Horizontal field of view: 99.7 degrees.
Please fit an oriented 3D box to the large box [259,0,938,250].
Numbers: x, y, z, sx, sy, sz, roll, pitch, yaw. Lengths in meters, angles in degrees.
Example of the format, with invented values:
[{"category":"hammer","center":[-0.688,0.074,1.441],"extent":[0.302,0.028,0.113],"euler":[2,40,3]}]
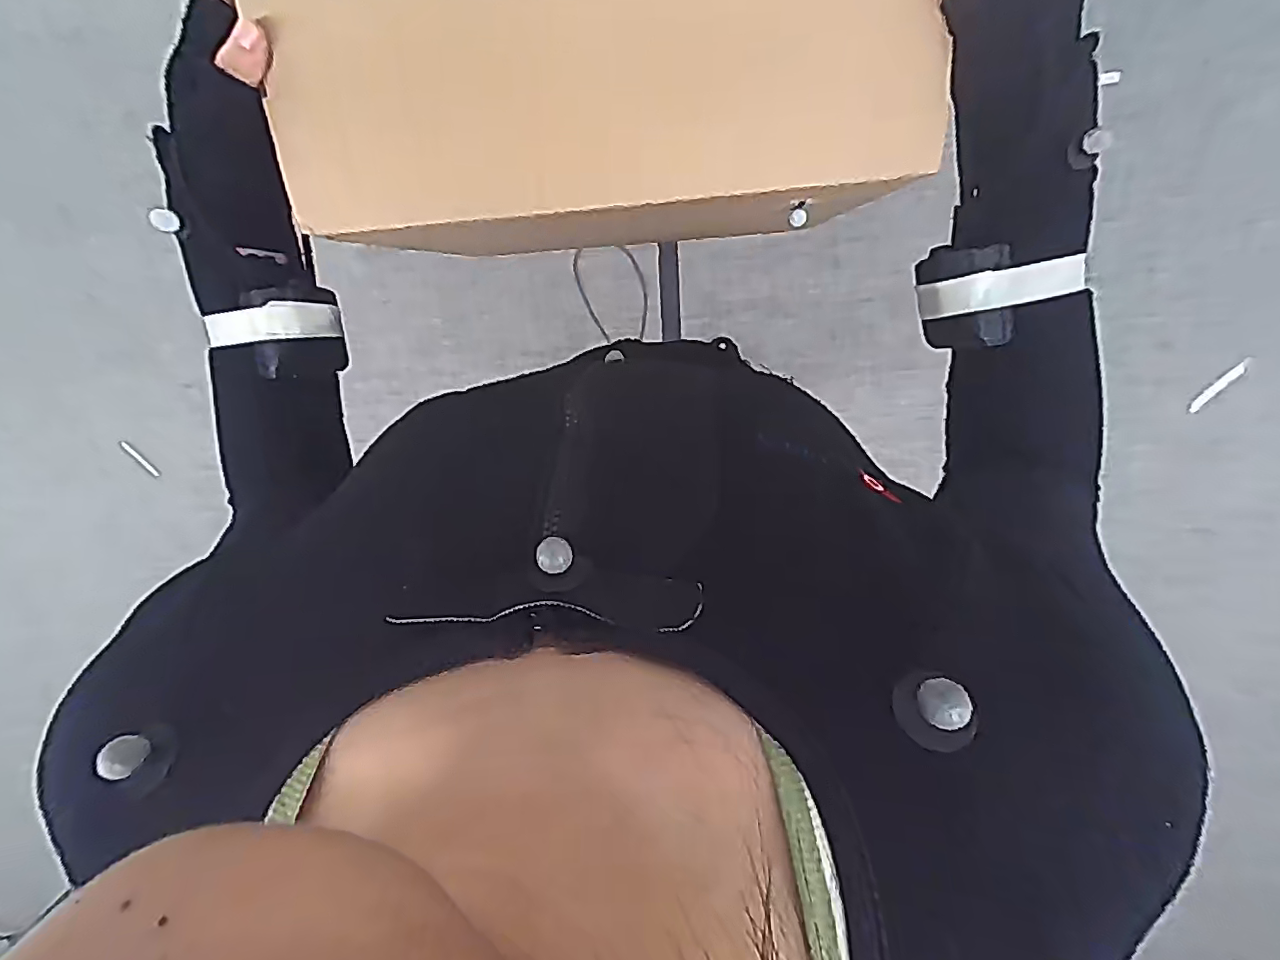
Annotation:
[{"category":"large box","center":[-0.022,-0.375,0.439],"extent":[0.408,0.320,0.320],"euler":[-3,109,5]}]
